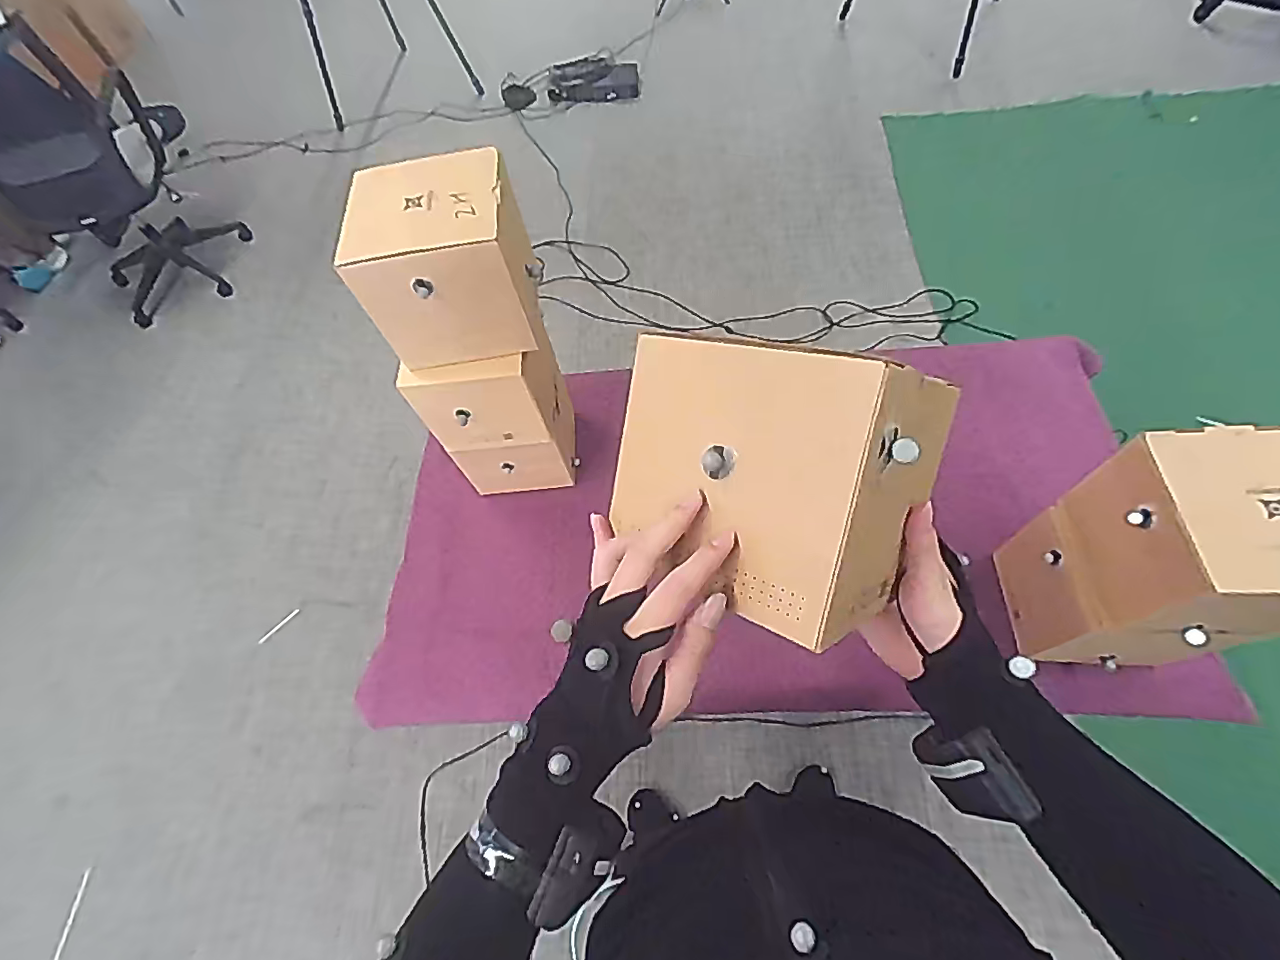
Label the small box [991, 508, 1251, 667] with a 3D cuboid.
[{"bbox_3d":[0.616,0.149,0.724,0.179,0.176,0.168,1,60,7],"label":"small box"}]

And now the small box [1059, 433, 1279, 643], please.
[{"bbox_3d":[0.602,0.066,0.584,0.168,0.176,0.179,0,62,8],"label":"small box"}]

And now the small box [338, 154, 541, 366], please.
[{"bbox_3d":[-0.229,-0.260,0.665,0.179,0.176,0.168,-8,61,1],"label":"small box"}]

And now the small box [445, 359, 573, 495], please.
[{"bbox_3d":[-0.214,-0.087,0.942,0.179,0.176,0.168,-6,61,3],"label":"small box"}]

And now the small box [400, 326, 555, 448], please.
[{"bbox_3d":[-0.225,-0.159,0.798,0.168,0.176,0.179,-5,61,3],"label":"small box"}]
